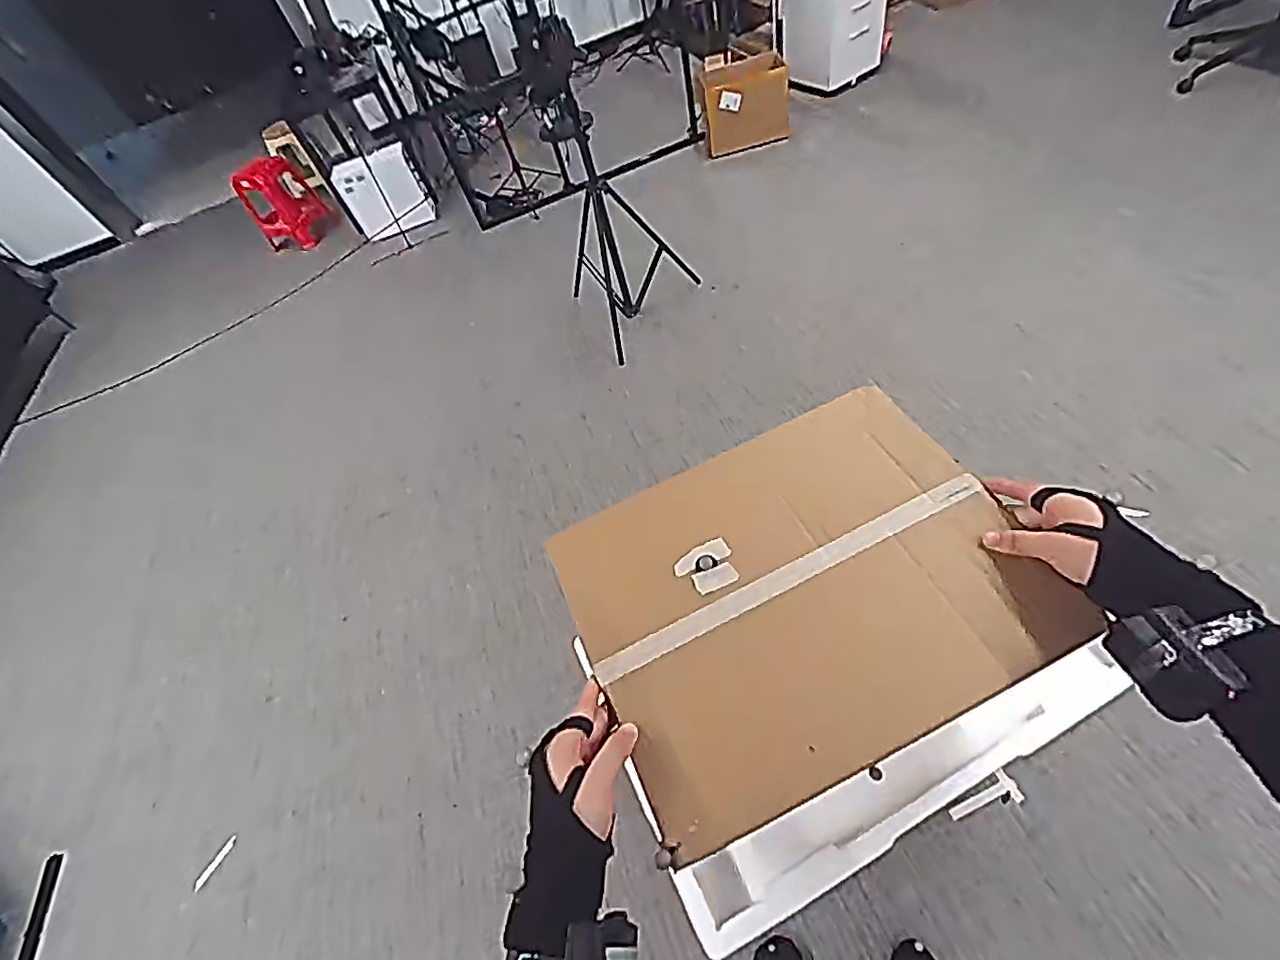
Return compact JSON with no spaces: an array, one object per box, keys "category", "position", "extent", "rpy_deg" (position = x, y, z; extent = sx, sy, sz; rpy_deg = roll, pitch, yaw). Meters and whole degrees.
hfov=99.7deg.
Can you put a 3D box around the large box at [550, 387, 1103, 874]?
[{"category":"large box","position":[0.170,0.170,0.625],"extent":[0.408,0.320,0.320],"rpy_deg":[-27,56,-5]}]
